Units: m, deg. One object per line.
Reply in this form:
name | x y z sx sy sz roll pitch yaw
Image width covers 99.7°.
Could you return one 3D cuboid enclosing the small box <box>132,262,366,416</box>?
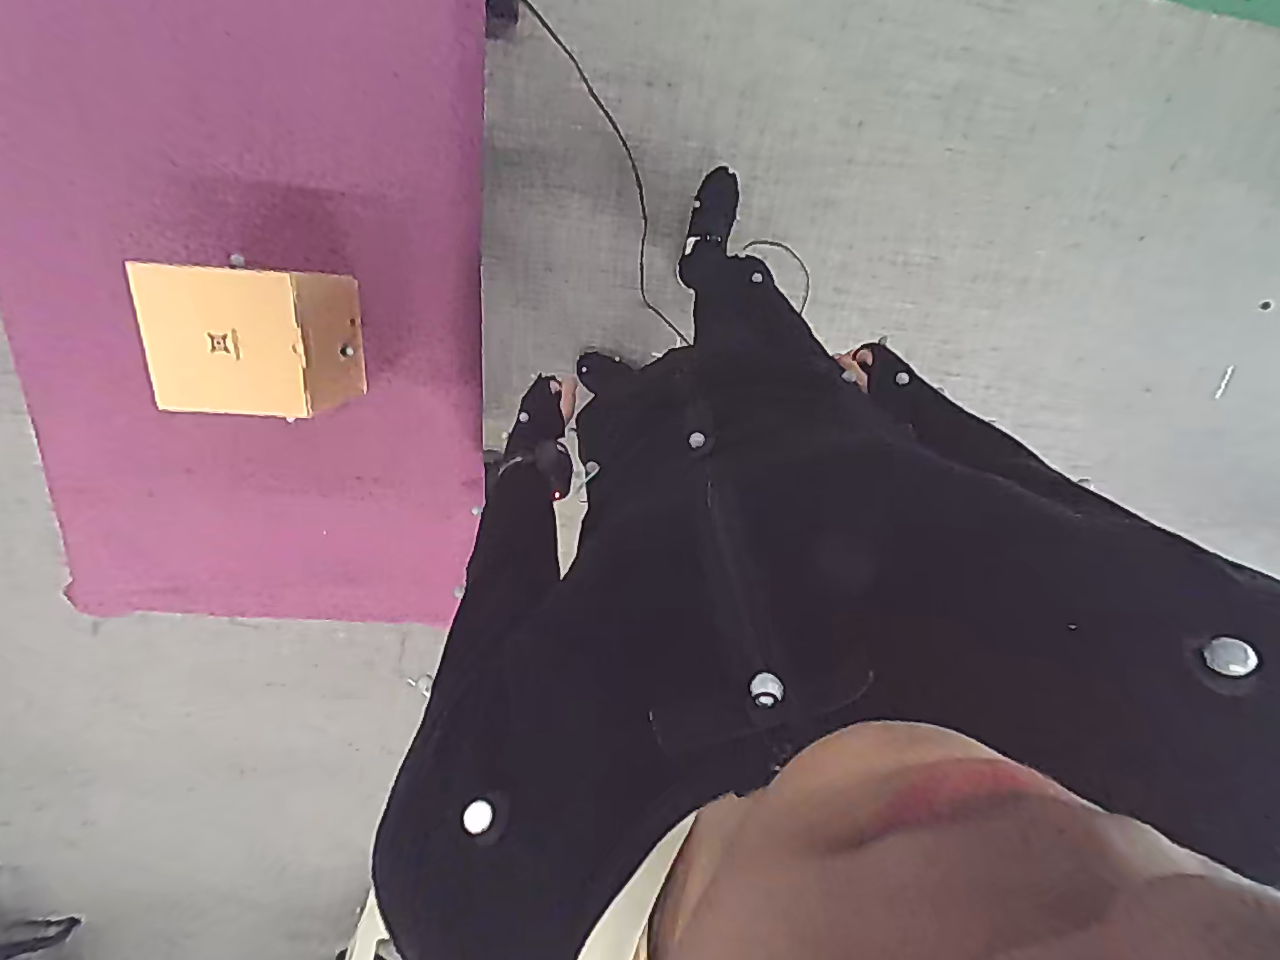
small box | -0.484 -0.183 0.700 0.179 0.176 0.168 2 109 -6
